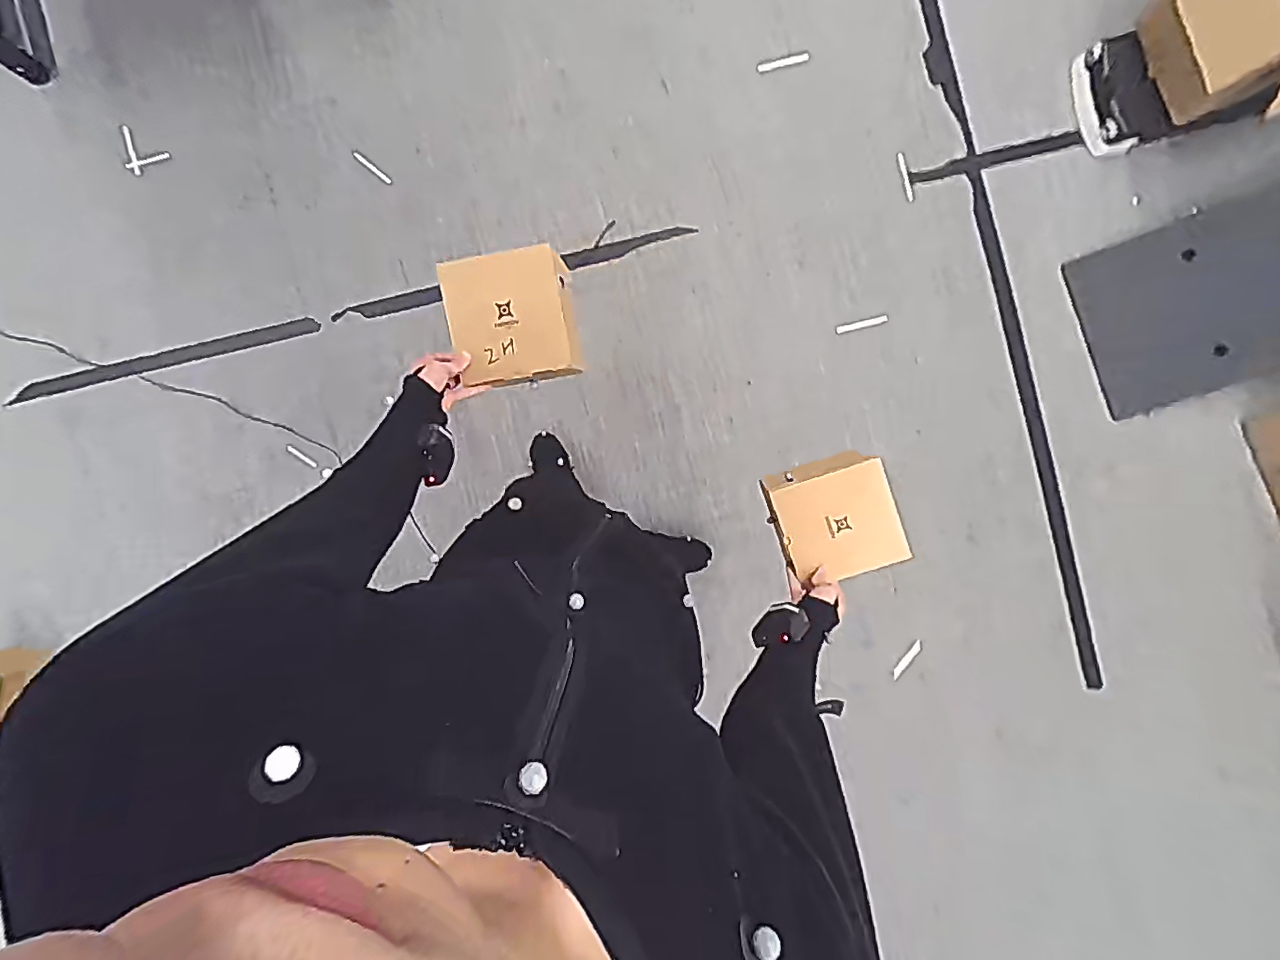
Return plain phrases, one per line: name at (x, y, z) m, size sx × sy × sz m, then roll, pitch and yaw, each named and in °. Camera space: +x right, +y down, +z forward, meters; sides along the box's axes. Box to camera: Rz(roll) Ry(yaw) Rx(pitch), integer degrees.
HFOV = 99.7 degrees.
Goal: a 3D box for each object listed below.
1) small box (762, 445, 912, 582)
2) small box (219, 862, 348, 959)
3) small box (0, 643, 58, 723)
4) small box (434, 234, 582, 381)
small box at (0.314, 0.046, 0.898) m, size 0.179 × 0.176 × 0.168 m, roll -19°, pitch 94°, yaw 11°
small box at (-0.762, 0.979, 1.177) m, size 0.168 × 0.176 × 0.179 m, roll -4°, pitch 94°, yaw 1°
small box at (-1.924, 0.616, 1.626) m, size 0.168 × 0.176 × 0.179 m, roll 11°, pitch 93°, yaw 1°
small box at (-0.193, -0.254, 0.837) m, size 0.168 × 0.176 × 0.179 m, roll -9°, pitch 99°, yaw 4°
